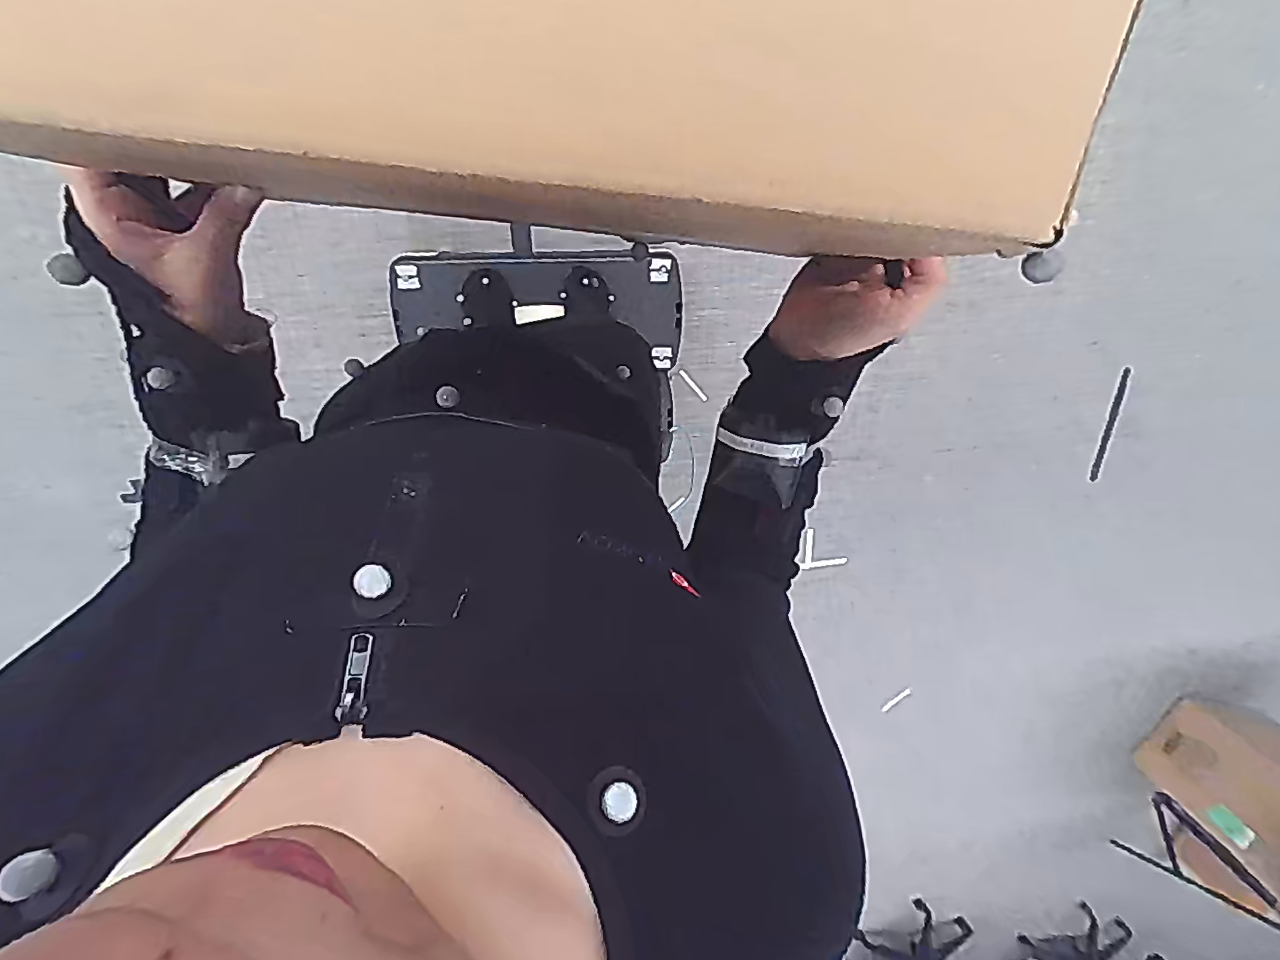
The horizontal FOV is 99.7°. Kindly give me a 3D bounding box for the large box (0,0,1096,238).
[{"bbox_3d":[-0.062,-0.299,0.245,0.408,0.320,0.320,3,114,-3],"label":"large box"}]

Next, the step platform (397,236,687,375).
[{"bbox_3d":[-0.226,-0.424,1.333,0.684,0.204,0.286,0,115,-8],"label":"step platform"}]
